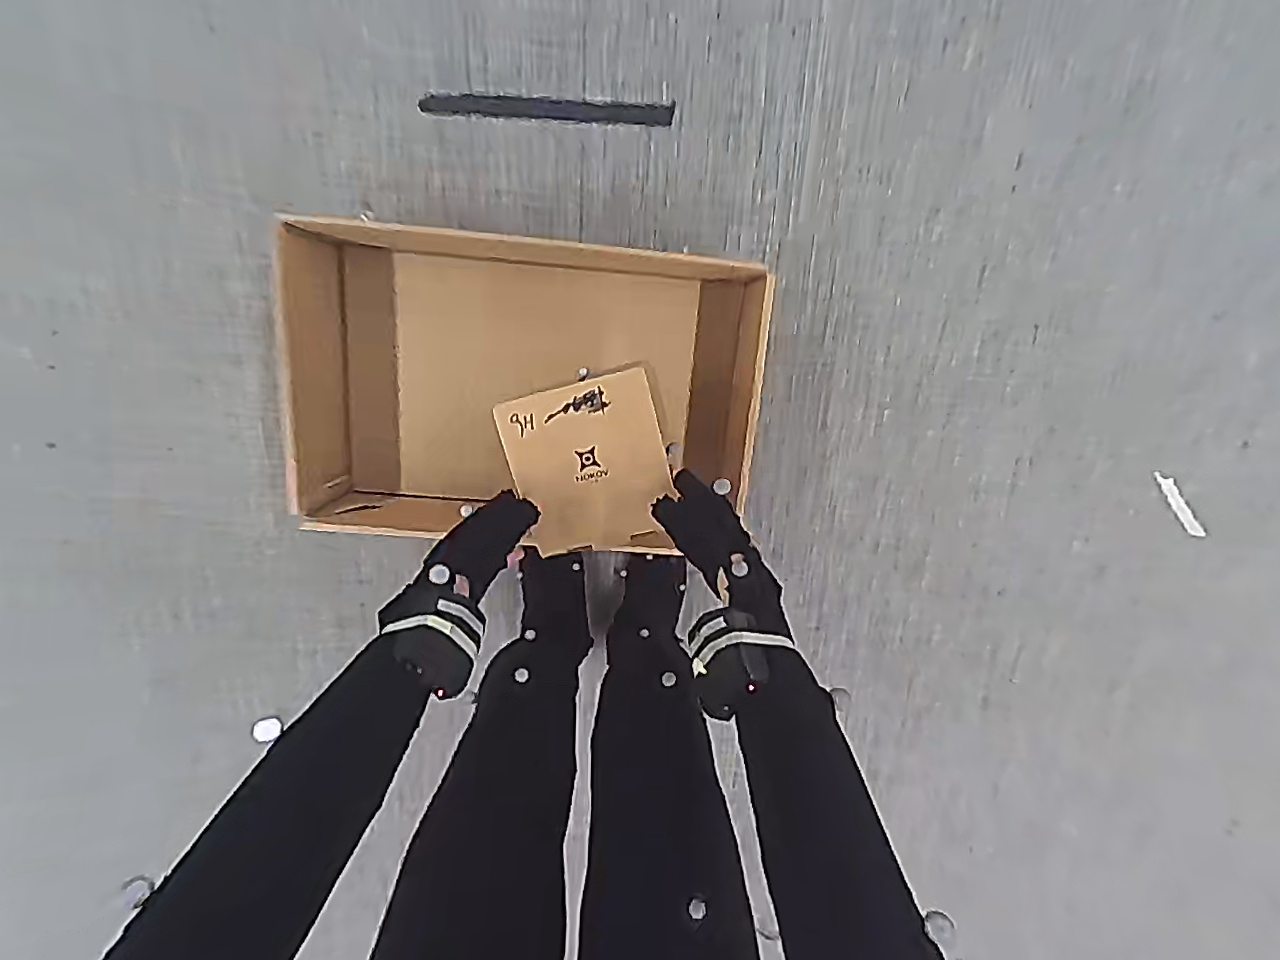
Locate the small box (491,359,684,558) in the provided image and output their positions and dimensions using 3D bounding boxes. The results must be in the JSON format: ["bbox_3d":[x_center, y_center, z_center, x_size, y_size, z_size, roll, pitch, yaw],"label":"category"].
[{"bbox_3d":[-0.045,-0.035,0.630,0.168,0.176,0.179,-14,103,7],"label":"small box"}]
